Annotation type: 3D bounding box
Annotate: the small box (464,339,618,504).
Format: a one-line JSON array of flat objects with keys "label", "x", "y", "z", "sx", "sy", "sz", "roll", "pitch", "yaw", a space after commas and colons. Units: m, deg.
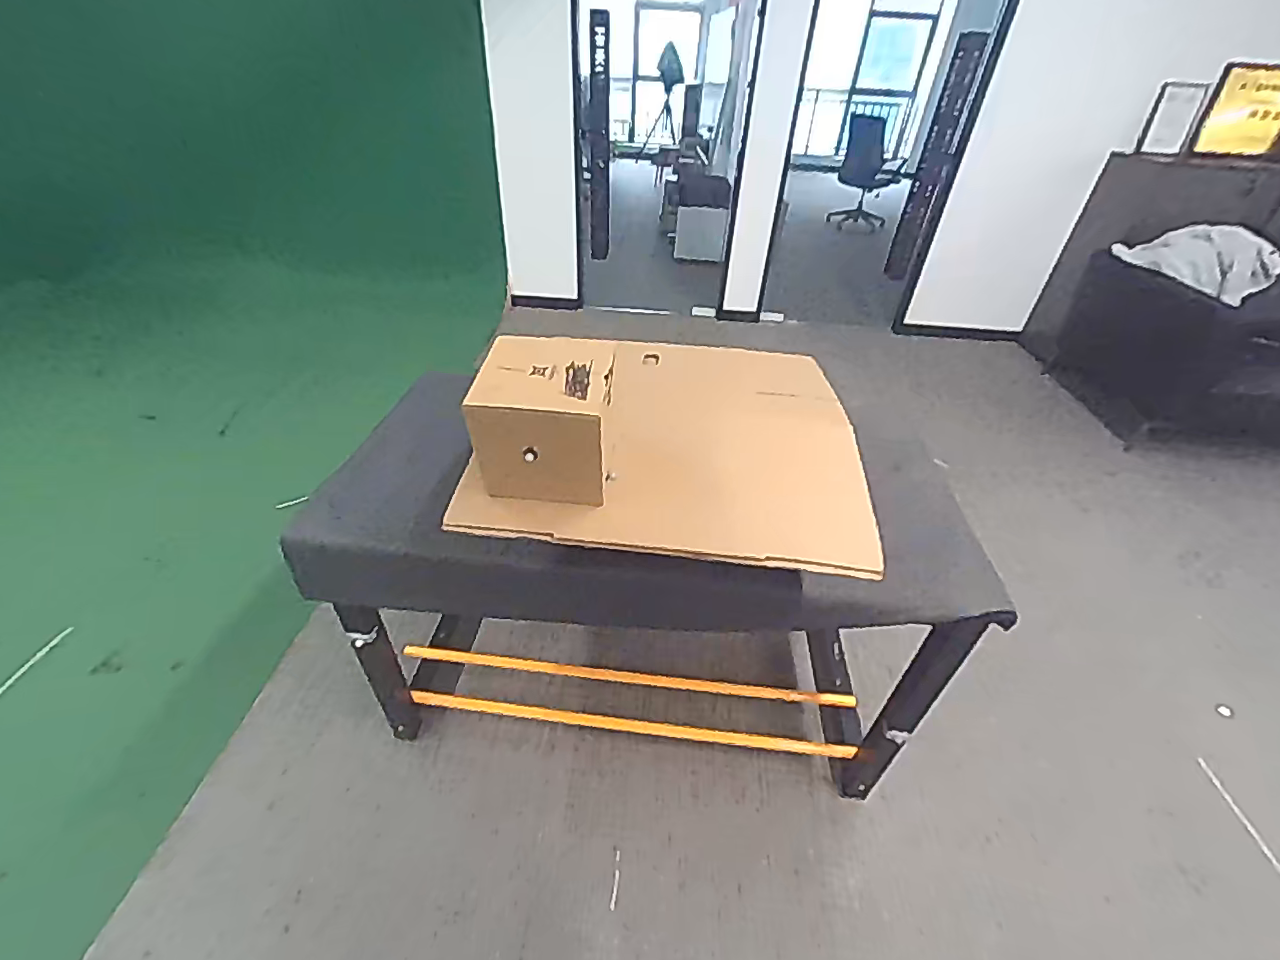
[{"label": "small box", "x": -0.128, "y": -0.082, "z": 0.780, "sx": 0.179, "sy": 0.176, "sz": 0.168, "roll": 4, "pitch": 46, "yaw": 3}]
